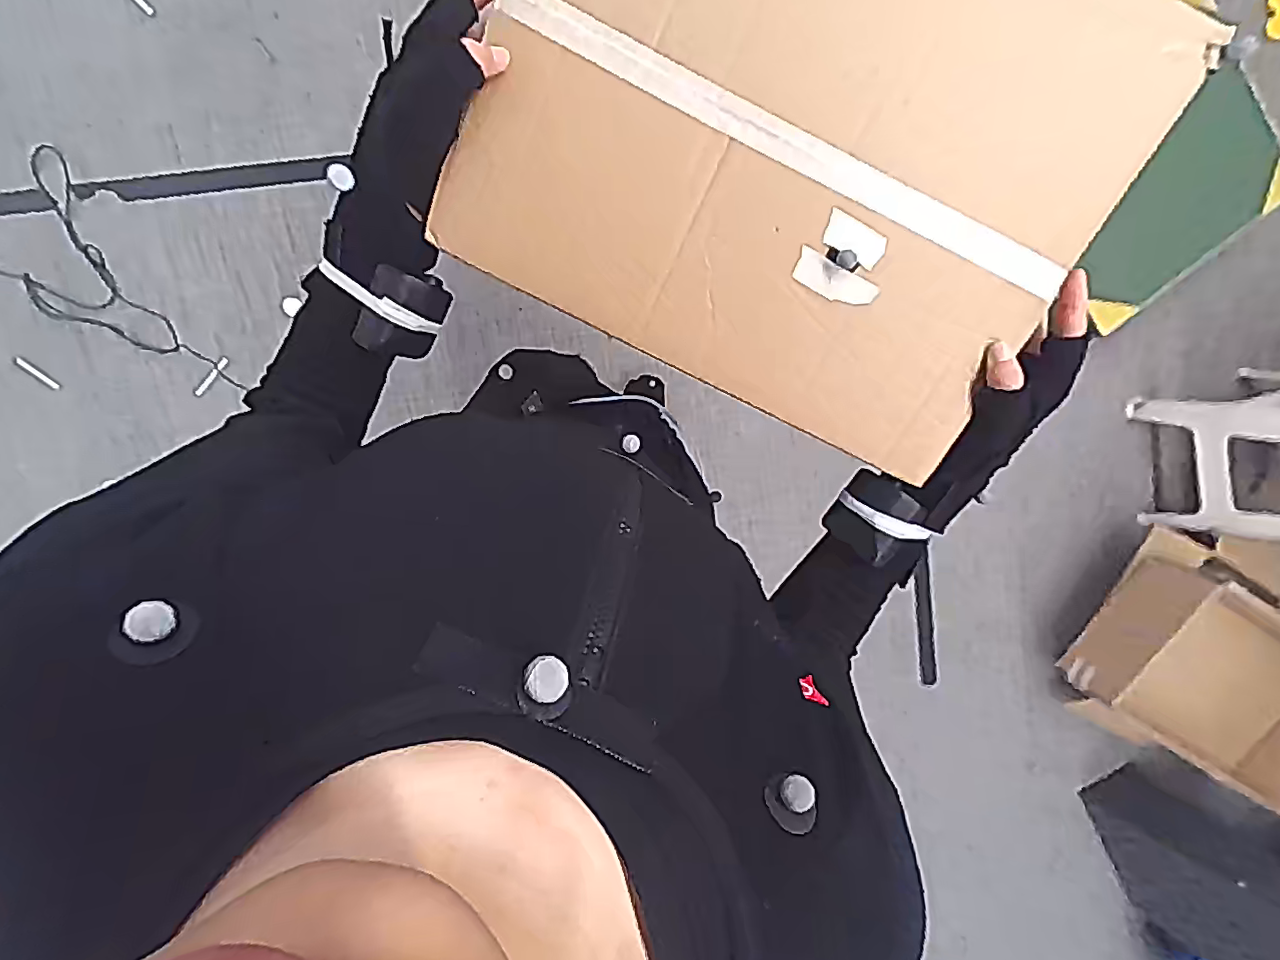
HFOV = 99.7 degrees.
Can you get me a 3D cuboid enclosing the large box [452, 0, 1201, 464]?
[{"bbox_3d":[0.111,-0.267,0.502,0.408,0.320,0.320,26,109,-5],"label":"large box"}]
